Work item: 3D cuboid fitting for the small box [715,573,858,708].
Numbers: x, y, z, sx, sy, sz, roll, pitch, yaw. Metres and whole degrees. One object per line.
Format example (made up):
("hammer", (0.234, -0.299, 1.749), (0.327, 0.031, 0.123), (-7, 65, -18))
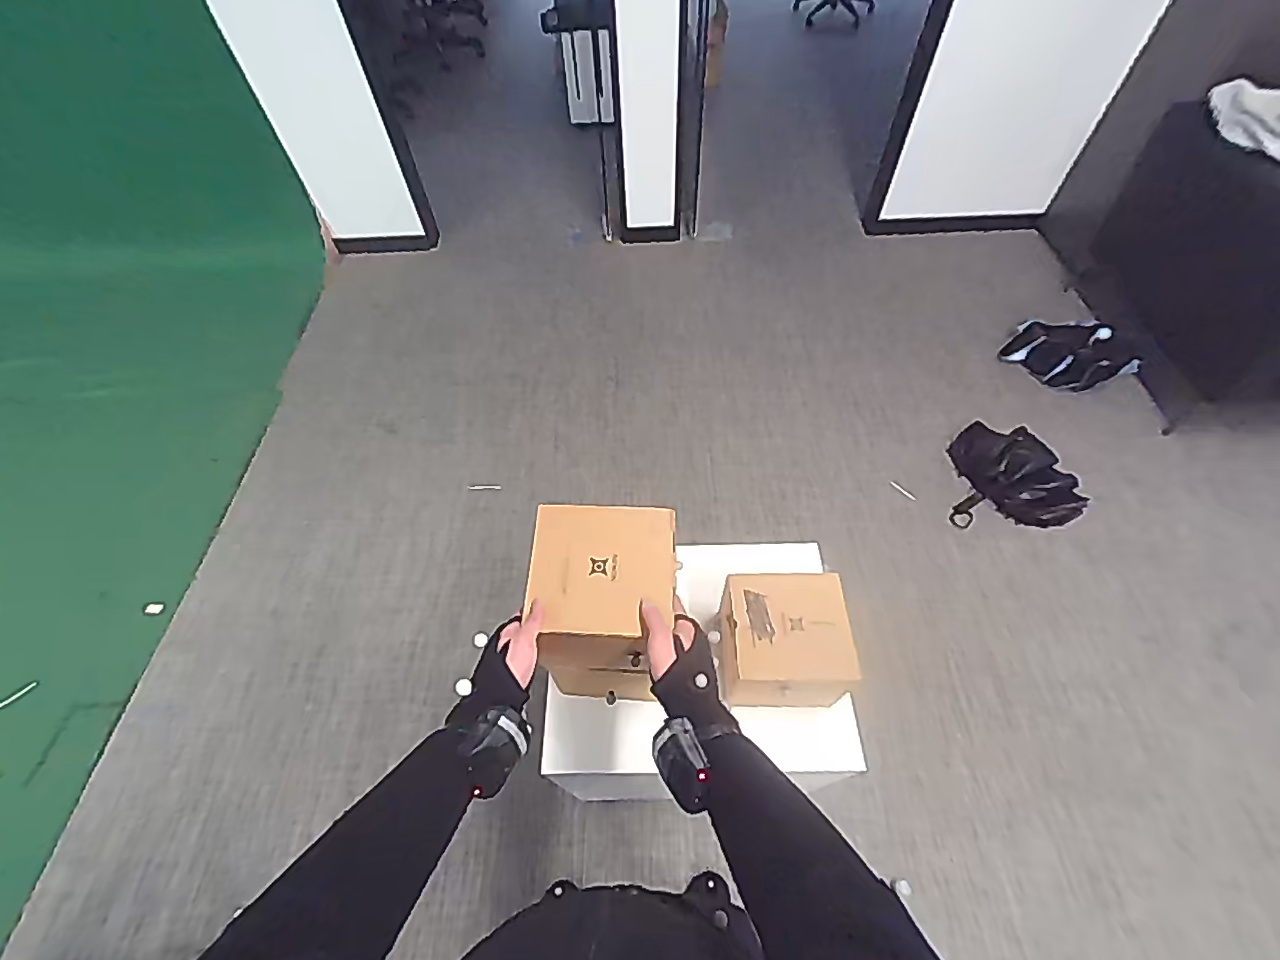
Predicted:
("small box", (0.217, 0.259, 0.861), (0.179, 0.176, 0.168), (1, 55, -2))

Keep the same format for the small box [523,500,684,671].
("small box", (-0.042, 0.140, 0.693), (0.179, 0.176, 0.168), (2, 57, -1))
